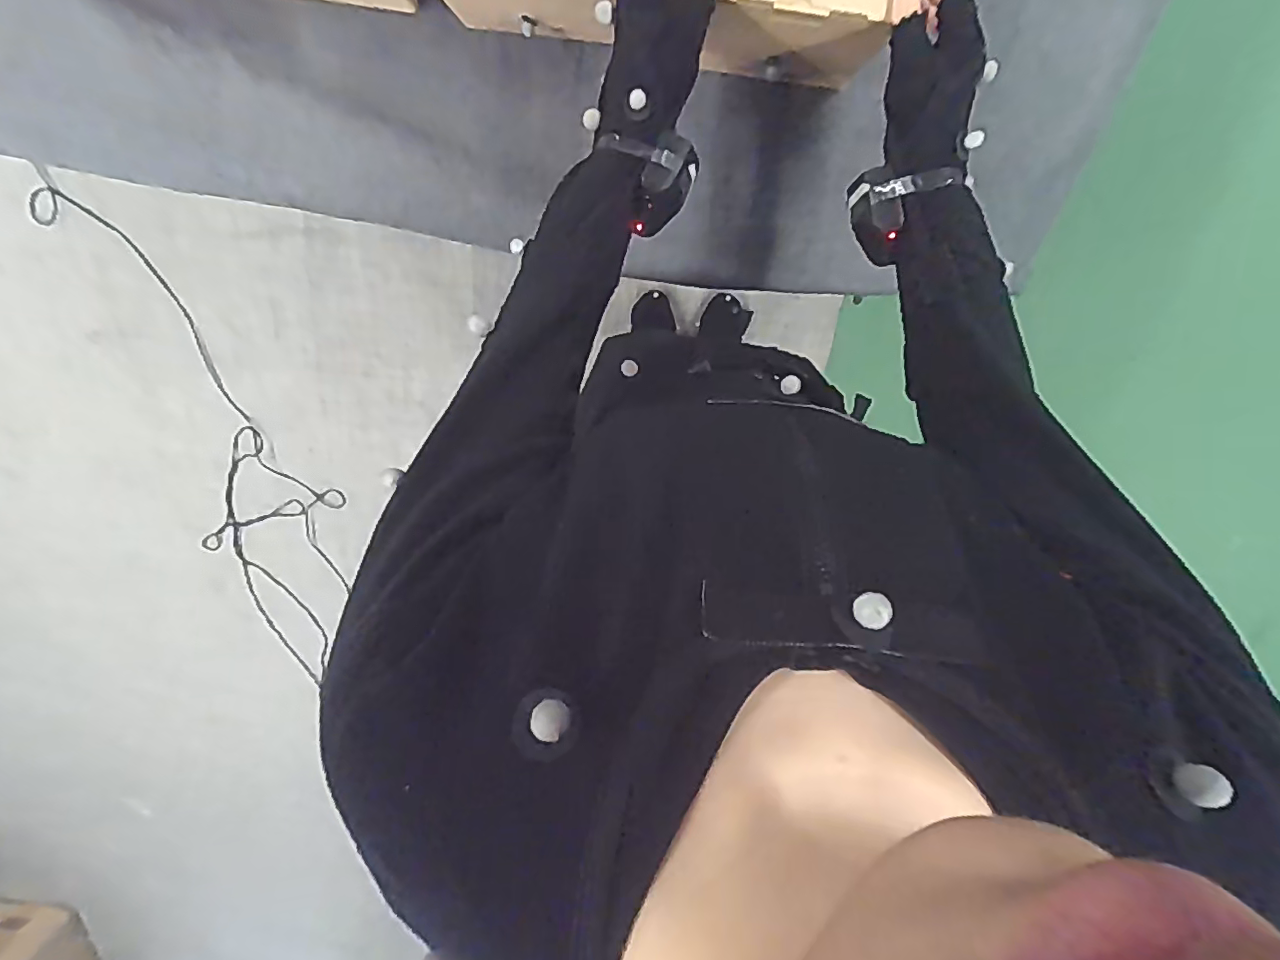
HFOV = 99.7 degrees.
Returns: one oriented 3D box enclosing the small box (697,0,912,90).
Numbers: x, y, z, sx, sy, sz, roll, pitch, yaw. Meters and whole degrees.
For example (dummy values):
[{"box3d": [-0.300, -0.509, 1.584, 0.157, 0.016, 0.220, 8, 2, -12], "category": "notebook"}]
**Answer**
[{"box3d": [0.143, -0.473, 0.464, 0.168, 0.176, 0.179, 8, 112, 1], "category": "small box"}]
